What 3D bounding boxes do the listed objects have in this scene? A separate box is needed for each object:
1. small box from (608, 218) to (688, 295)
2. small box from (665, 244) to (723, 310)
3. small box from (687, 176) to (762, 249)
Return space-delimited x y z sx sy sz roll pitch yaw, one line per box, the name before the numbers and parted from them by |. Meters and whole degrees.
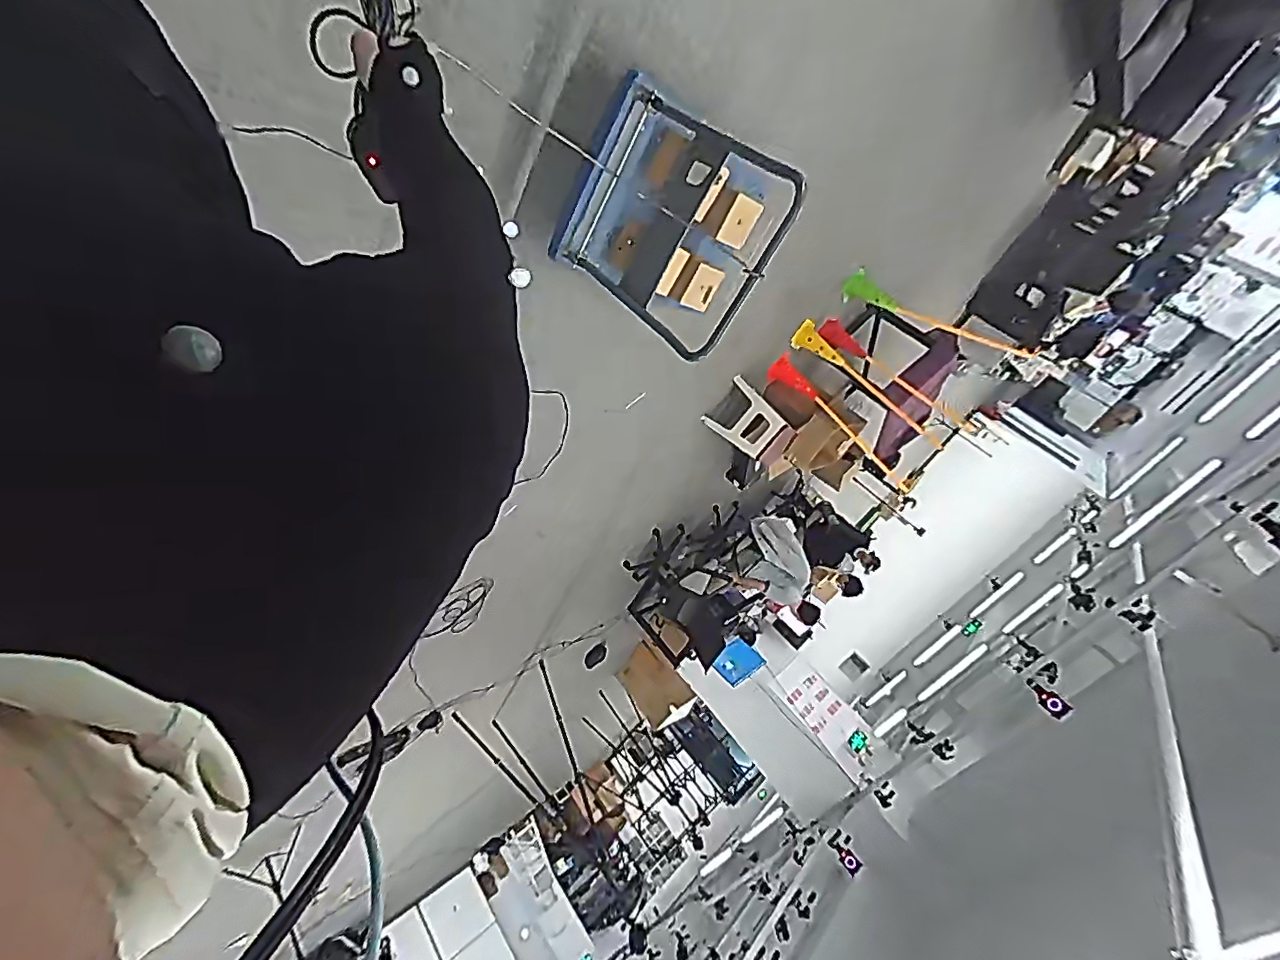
small box | 0.025 -0.776 1.873 0.179 0.176 0.168 -2 132 -52
small box | 0.179 -0.781 2.078 0.179 0.176 0.168 -6 134 -51
small box | 0.301 -0.975 1.965 0.179 0.176 0.168 -8 138 -50
